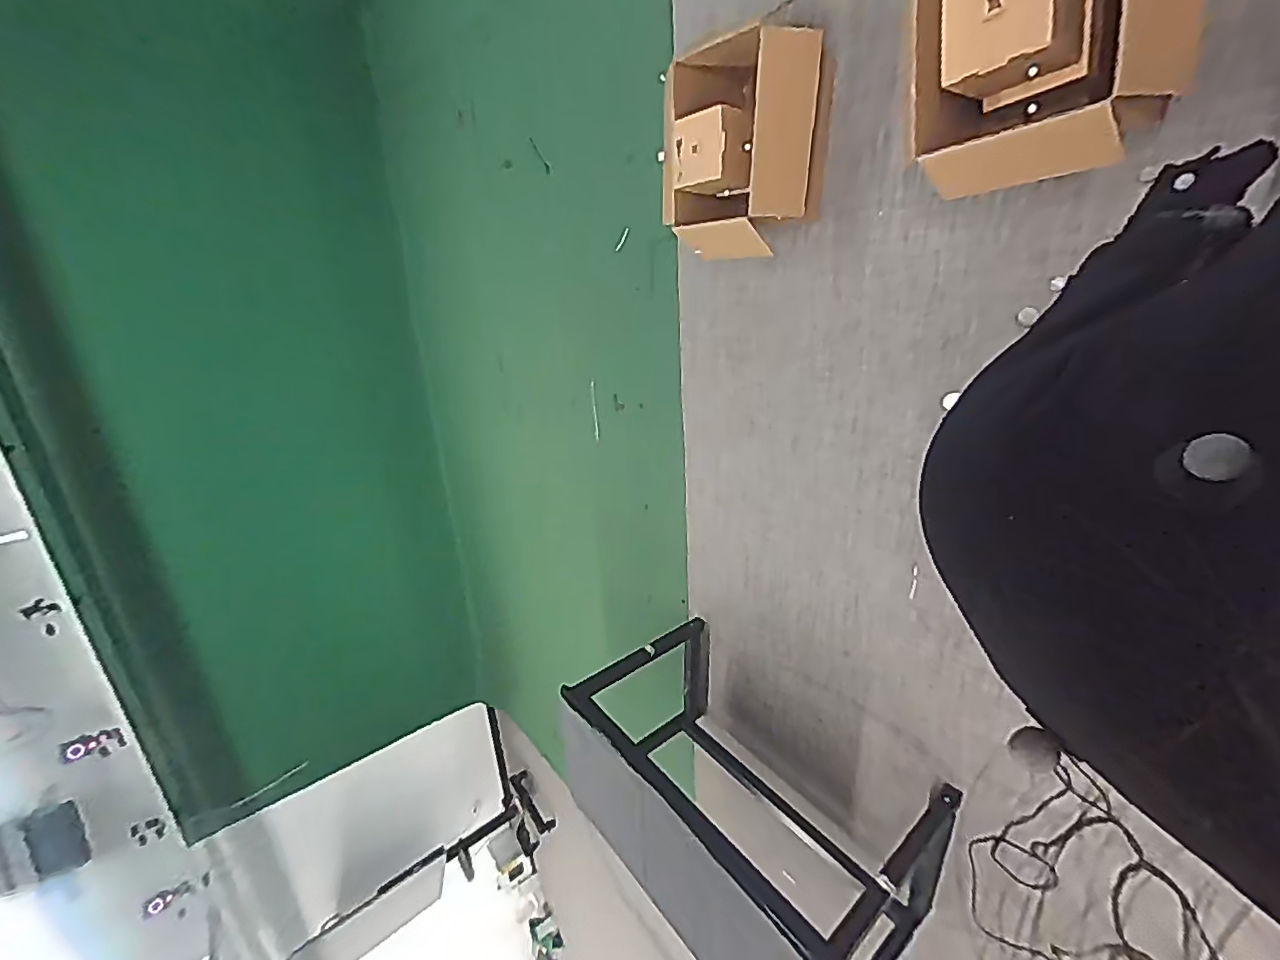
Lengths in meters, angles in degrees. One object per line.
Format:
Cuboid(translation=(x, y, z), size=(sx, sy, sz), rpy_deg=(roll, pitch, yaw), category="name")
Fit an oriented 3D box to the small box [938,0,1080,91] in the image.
Cuboid(translation=(0.637, -0.801, 0.931), size=(0.168, 0.176, 0.179), rpy_deg=(11, 115, 50), category="small box")
